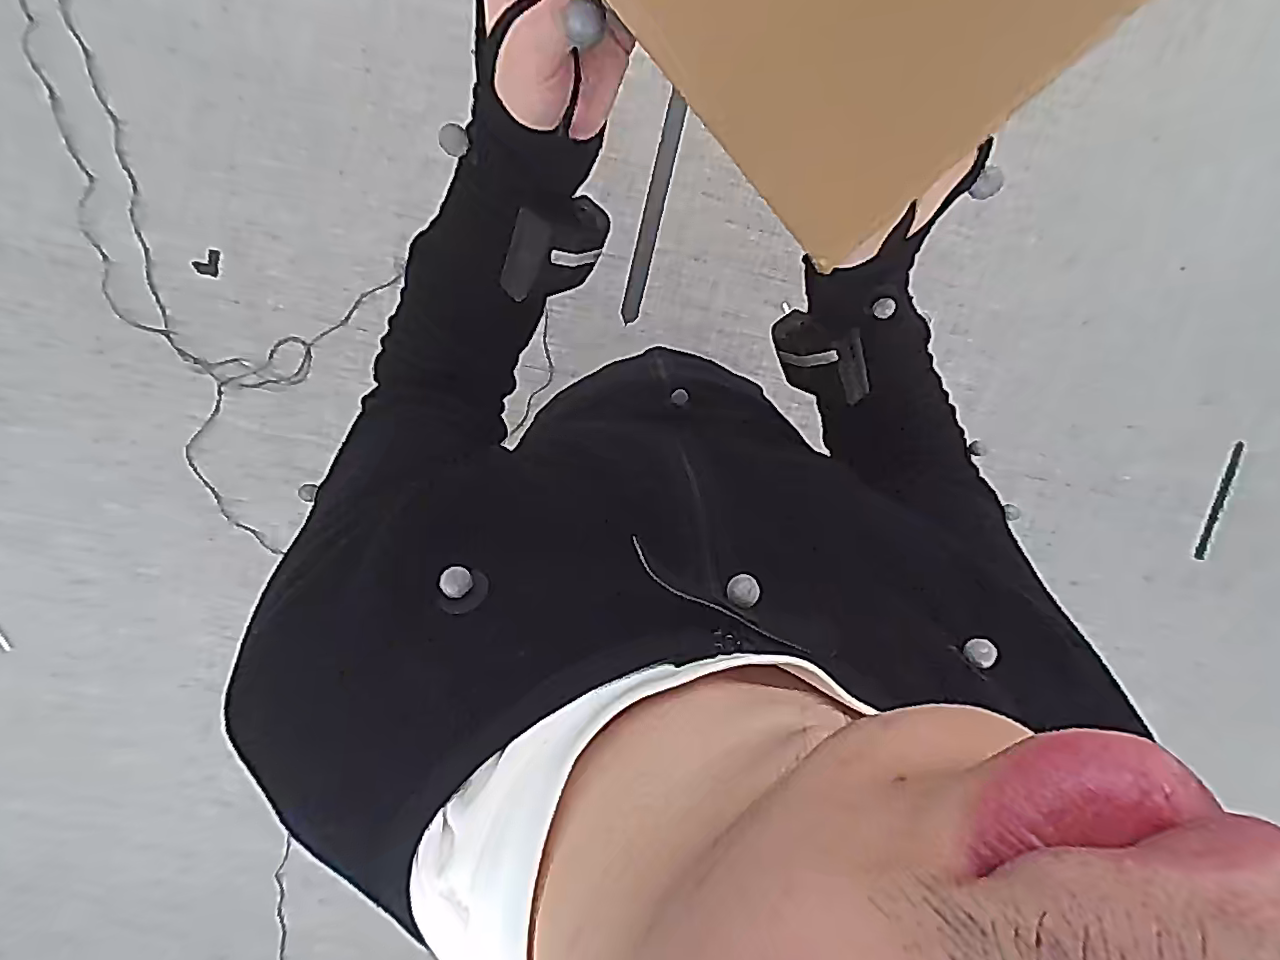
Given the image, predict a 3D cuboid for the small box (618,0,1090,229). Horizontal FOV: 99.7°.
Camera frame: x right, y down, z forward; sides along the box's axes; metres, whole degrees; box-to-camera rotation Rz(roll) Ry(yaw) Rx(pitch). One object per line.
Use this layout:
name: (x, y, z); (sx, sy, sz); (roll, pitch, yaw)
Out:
small box: (0.055, -0.211, 0.155); (0.179, 0.176, 0.168); (40, 122, -19)
